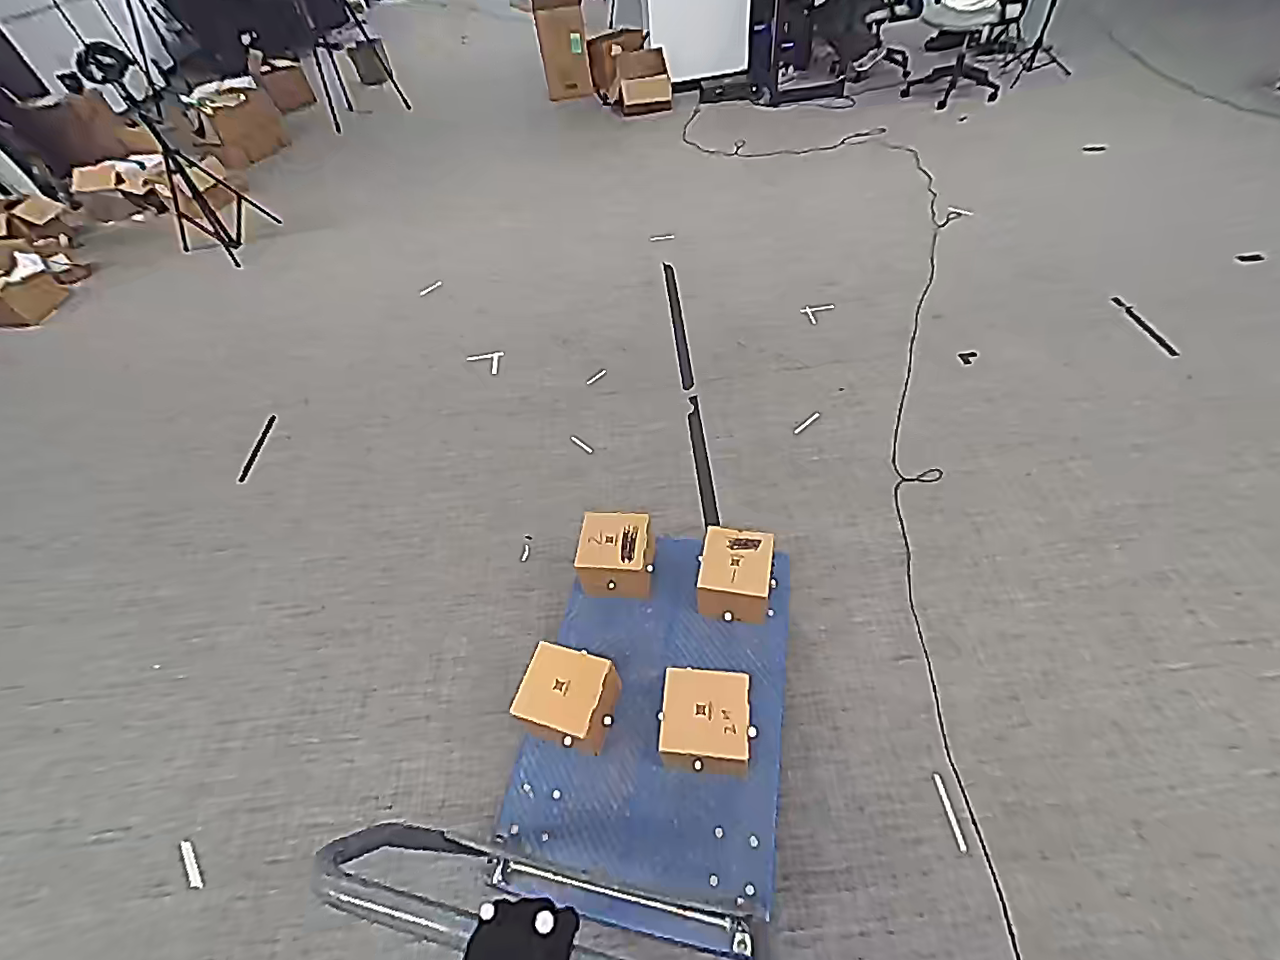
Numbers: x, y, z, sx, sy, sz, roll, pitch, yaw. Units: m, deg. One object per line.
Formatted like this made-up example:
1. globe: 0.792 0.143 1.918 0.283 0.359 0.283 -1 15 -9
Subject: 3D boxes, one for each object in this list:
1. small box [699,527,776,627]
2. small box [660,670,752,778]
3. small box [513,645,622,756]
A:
1. small box: 0.244 0.244 1.354 0.168 0.176 0.179 6 53 14
2. small box: 0.145 0.519 1.145 0.179 0.176 0.168 1 51 10
3. small box: -0.154 0.496 1.212 0.179 0.176 0.168 10 53 15
